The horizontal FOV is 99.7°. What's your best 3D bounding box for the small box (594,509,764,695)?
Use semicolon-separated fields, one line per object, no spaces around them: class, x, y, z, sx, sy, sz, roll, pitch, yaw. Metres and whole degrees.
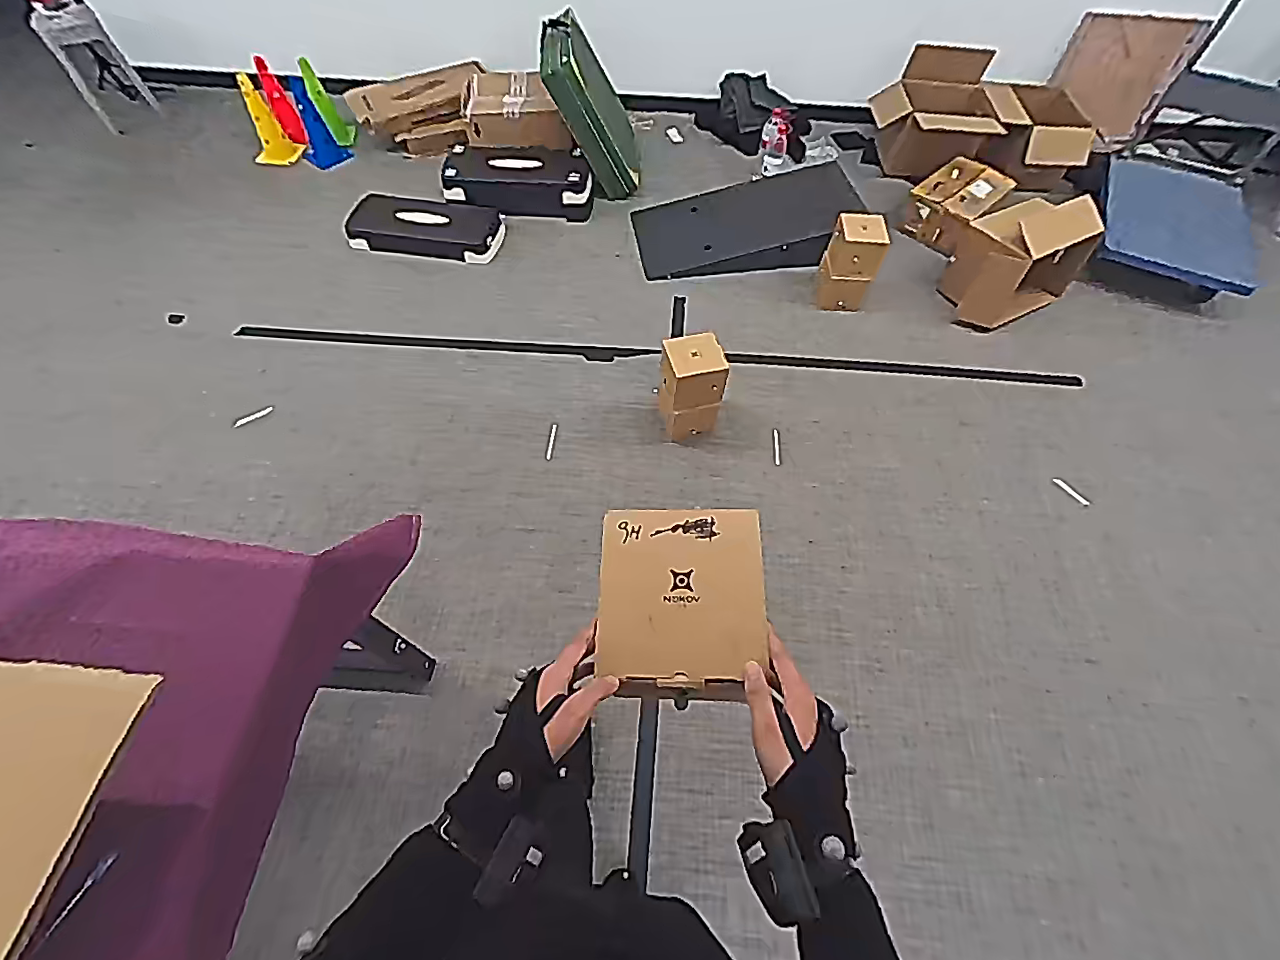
small box;0.047;0.145;0.615;0.168;0.176;0.179;0;64;5
